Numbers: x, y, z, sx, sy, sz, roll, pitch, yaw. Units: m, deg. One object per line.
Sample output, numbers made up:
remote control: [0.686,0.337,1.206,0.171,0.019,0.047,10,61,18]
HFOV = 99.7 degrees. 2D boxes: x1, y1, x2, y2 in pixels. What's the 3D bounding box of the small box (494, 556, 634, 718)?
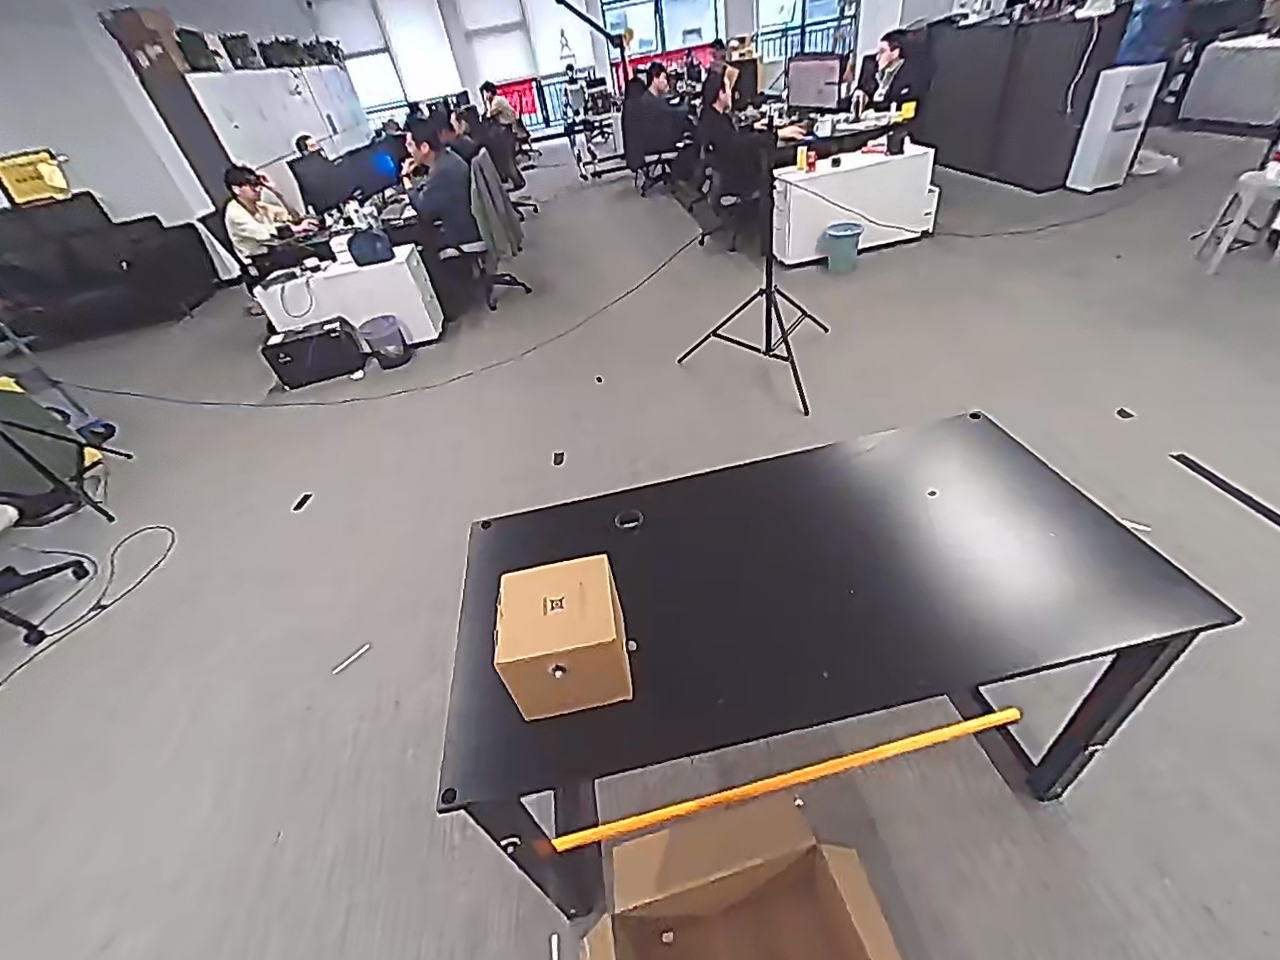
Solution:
small box: [-0.115,0.250,0.853,0.179,0.176,0.168,-11,40,-2]
